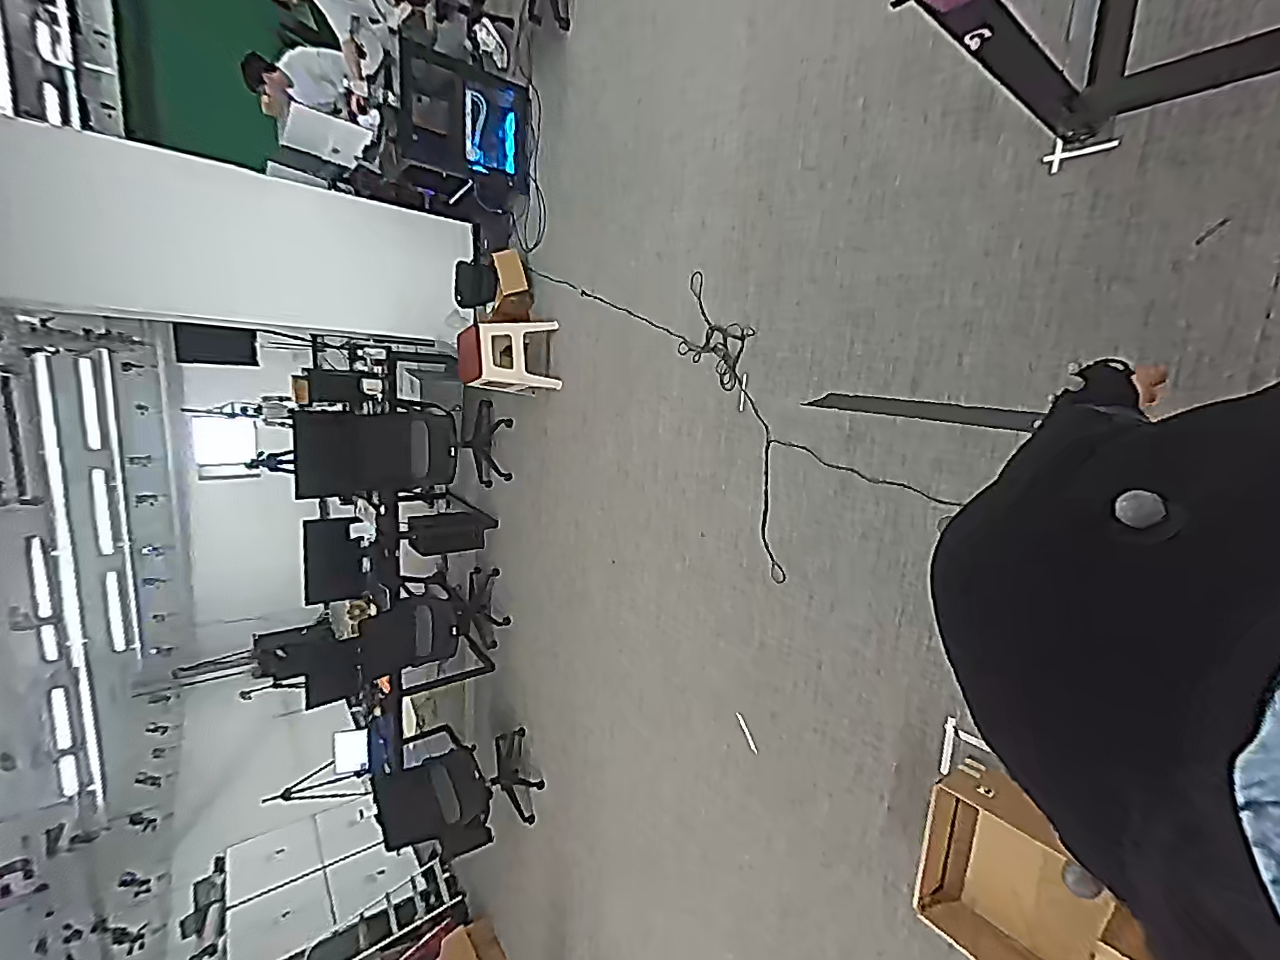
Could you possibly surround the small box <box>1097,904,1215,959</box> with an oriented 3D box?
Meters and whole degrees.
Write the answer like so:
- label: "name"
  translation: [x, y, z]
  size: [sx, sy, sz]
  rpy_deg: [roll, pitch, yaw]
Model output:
- label: "small box"
  translation: [1.039, 1.019, 1.088]
  size: [0.168, 0.176, 0.179]
  rpy_deg: [14, 105, 53]
